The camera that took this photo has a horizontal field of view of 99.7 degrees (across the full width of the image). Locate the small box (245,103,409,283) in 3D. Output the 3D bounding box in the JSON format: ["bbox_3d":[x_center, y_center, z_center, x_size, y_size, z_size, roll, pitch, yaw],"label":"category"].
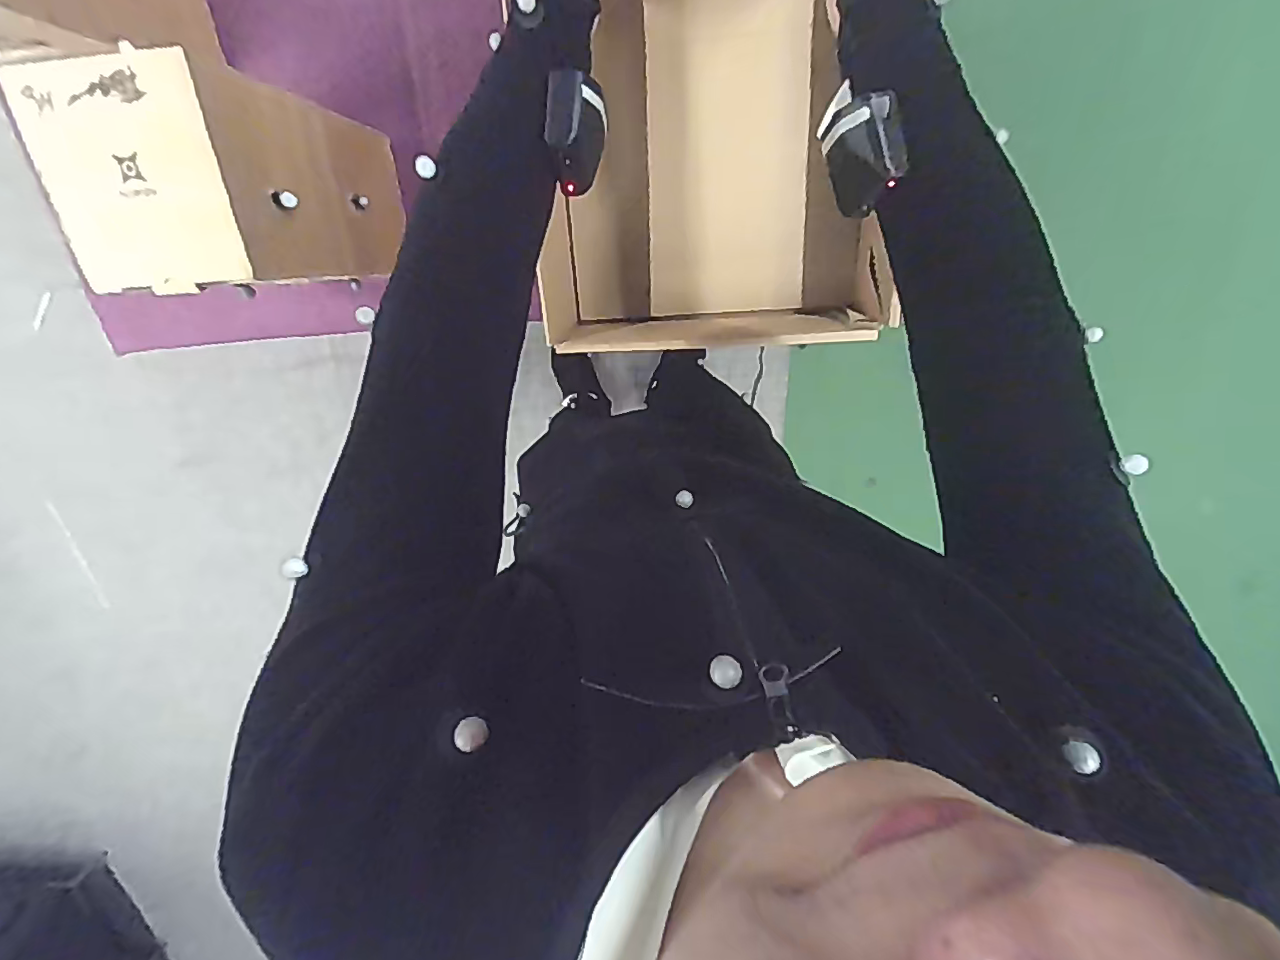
[{"bbox_3d":[-0.416,-0.348,0.684,0.168,0.176,0.179,-1,111,4],"label":"small box"}]

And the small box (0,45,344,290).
[{"bbox_3d":[-0.427,-0.289,0.531,0.168,0.176,0.179,-2,113,4],"label":"small box"}]

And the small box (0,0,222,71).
[{"bbox_3d":[-0.629,-0.563,0.610,0.168,0.176,0.179,-3,112,6],"label":"small box"}]

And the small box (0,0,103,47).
[{"bbox_3d":[-0.634,-0.501,0.457,0.168,0.176,0.179,1,114,4],"label":"small box"}]
